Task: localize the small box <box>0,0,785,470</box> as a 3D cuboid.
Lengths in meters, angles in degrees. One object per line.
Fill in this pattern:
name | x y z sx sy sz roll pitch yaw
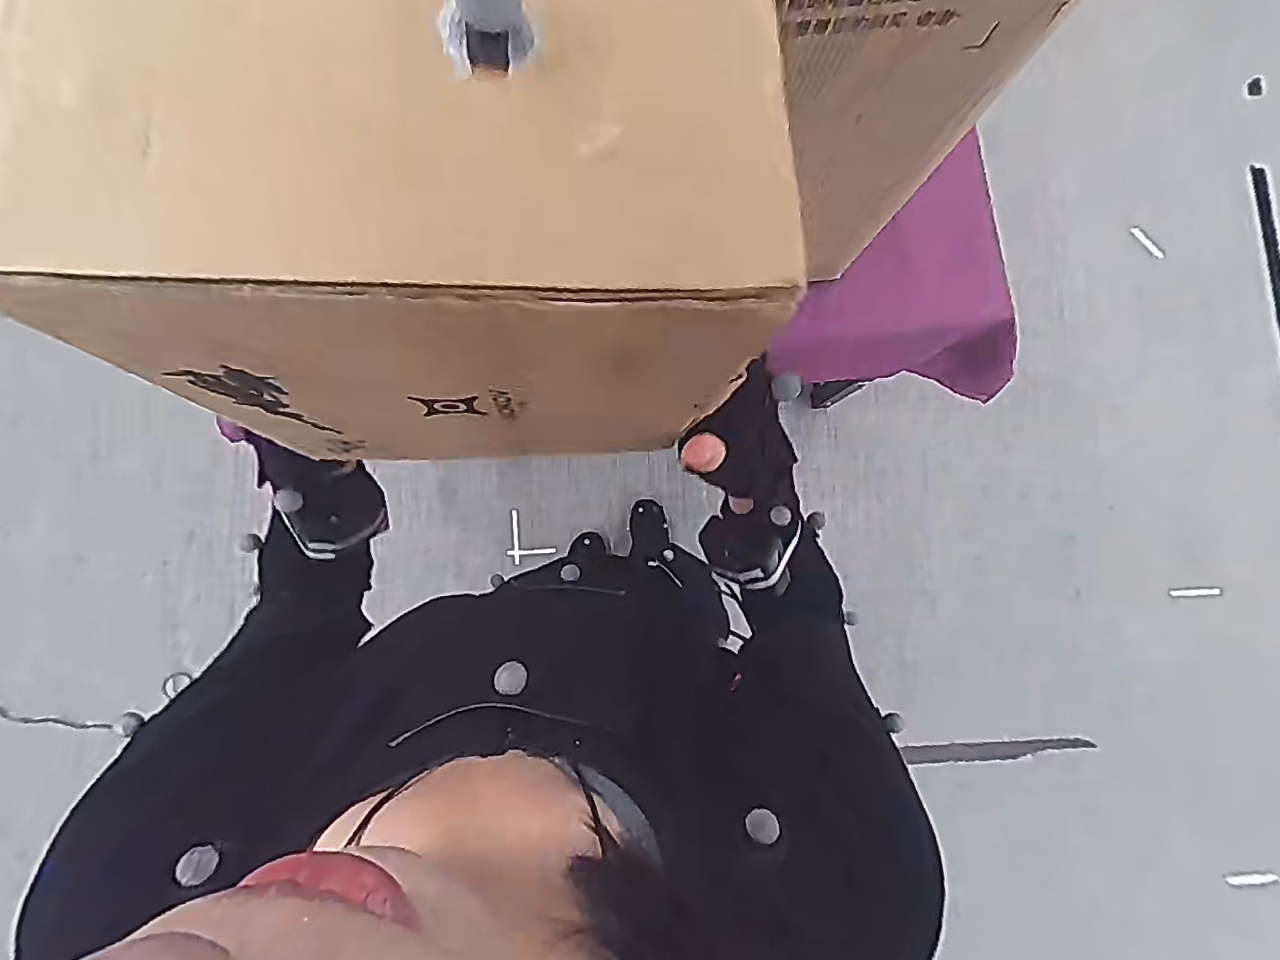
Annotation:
small box | -0.066 -0.105 0.211 0.179 0.168 0.176 -2 78 -9
